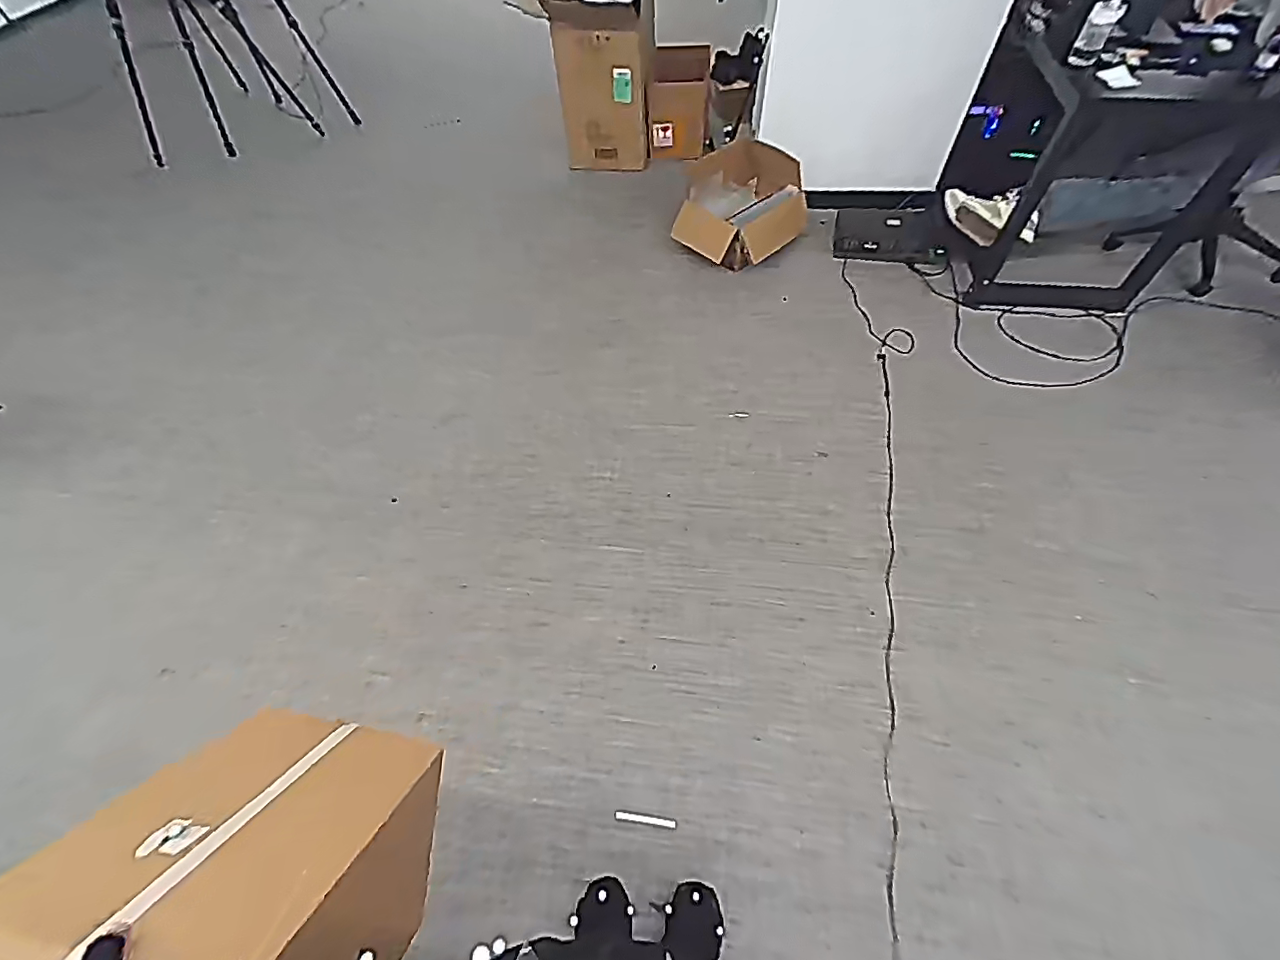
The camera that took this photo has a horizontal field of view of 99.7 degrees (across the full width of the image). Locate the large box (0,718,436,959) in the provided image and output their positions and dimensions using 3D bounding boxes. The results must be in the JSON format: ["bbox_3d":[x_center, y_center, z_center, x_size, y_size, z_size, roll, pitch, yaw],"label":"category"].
[{"bbox_3d":[-0.516,0.585,0.707,0.320,0.408,0.320,8,96,5],"label":"large box"}]
